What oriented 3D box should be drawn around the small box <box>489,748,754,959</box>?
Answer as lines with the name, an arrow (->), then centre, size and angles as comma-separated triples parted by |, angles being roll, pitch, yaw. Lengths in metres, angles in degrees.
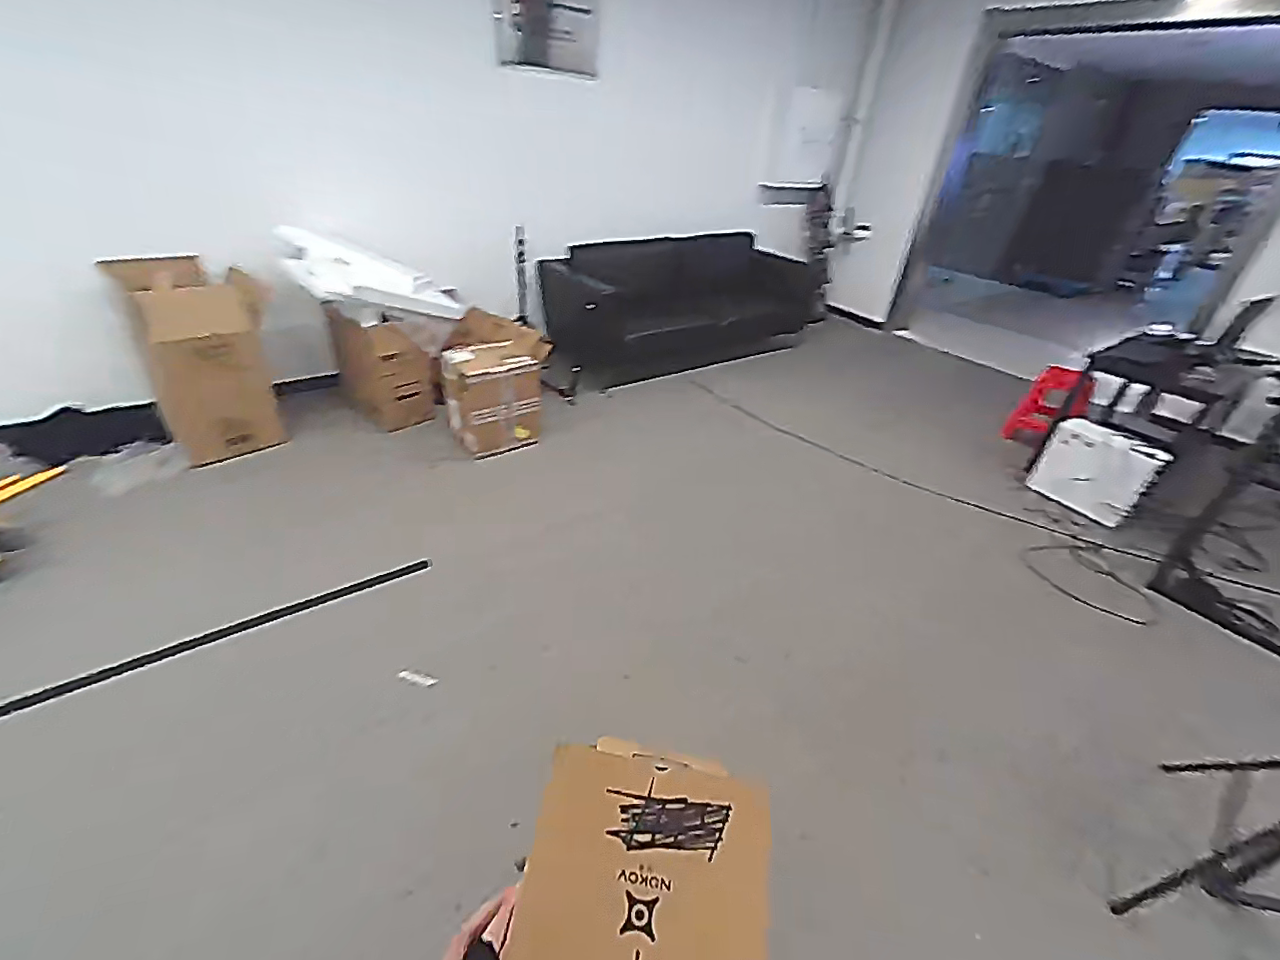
small box -> -0.014, 0.337, 0.410 | 0.168, 0.176, 0.179 | 9, 45, 3
